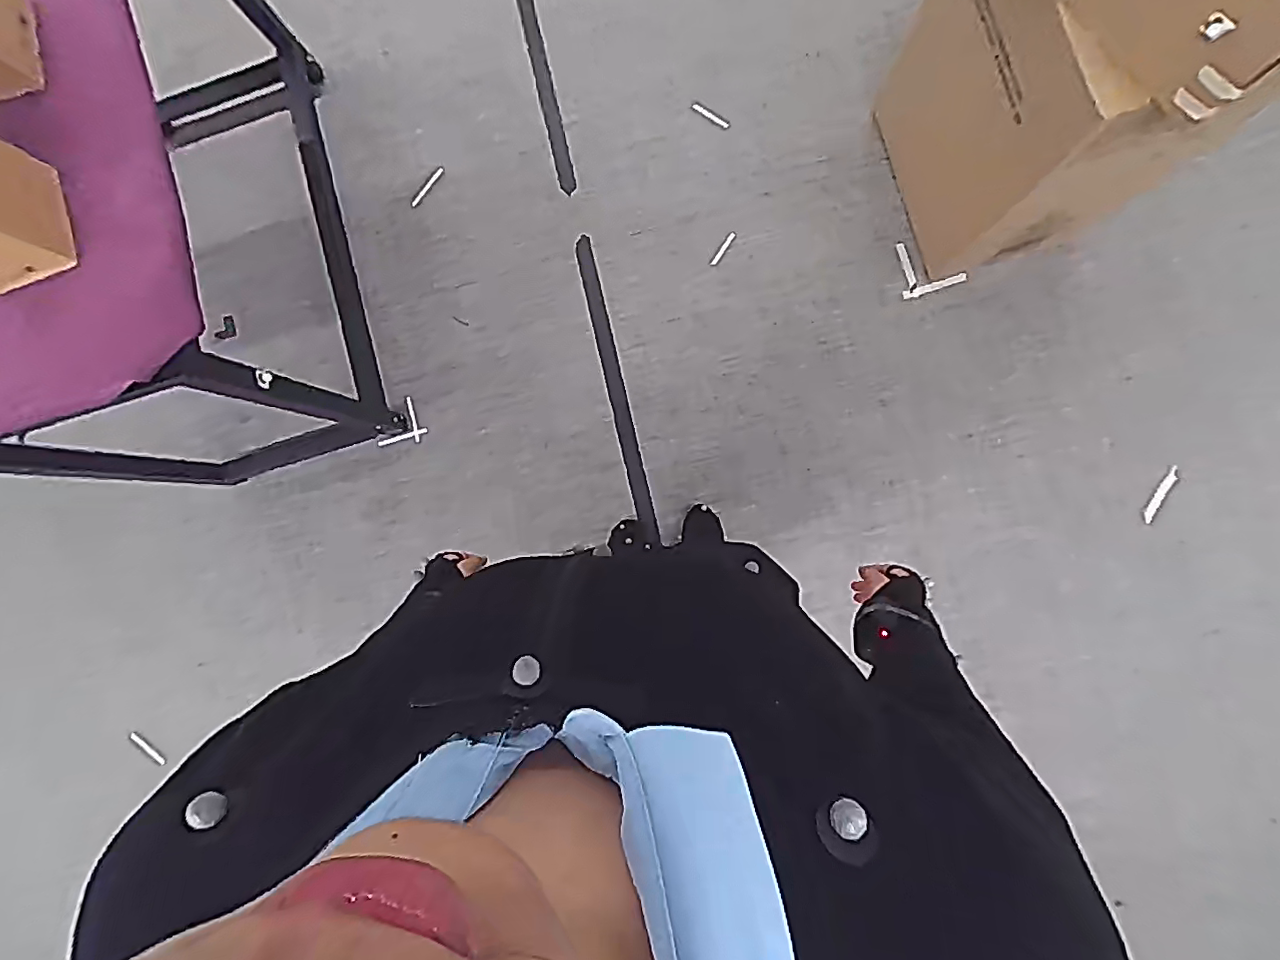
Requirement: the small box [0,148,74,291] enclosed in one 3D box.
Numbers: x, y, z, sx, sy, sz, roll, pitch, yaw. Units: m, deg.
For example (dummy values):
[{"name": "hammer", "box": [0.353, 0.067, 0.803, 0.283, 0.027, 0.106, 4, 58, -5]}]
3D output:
[{"name": "small box", "box": [-1.021, -0.407, 0.813, 0.168, 0.176, 0.179, -18, 85, 4]}]
